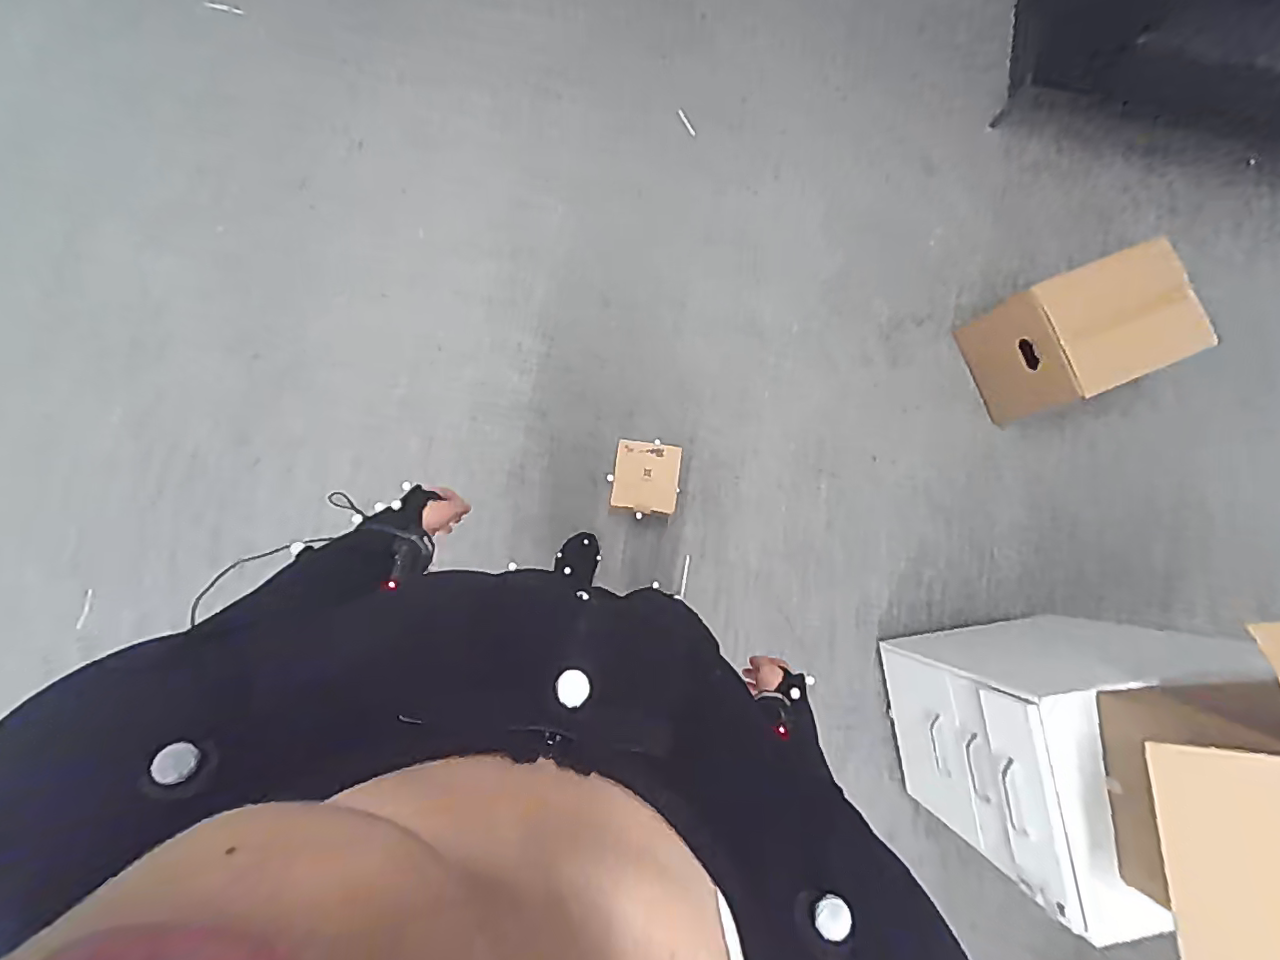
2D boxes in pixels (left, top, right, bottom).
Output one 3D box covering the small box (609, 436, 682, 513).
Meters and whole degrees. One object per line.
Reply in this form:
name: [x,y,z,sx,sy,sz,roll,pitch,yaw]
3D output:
small box: [0.011,-0.009,1.458,0.168,0.176,0.179,8,83,-3]
